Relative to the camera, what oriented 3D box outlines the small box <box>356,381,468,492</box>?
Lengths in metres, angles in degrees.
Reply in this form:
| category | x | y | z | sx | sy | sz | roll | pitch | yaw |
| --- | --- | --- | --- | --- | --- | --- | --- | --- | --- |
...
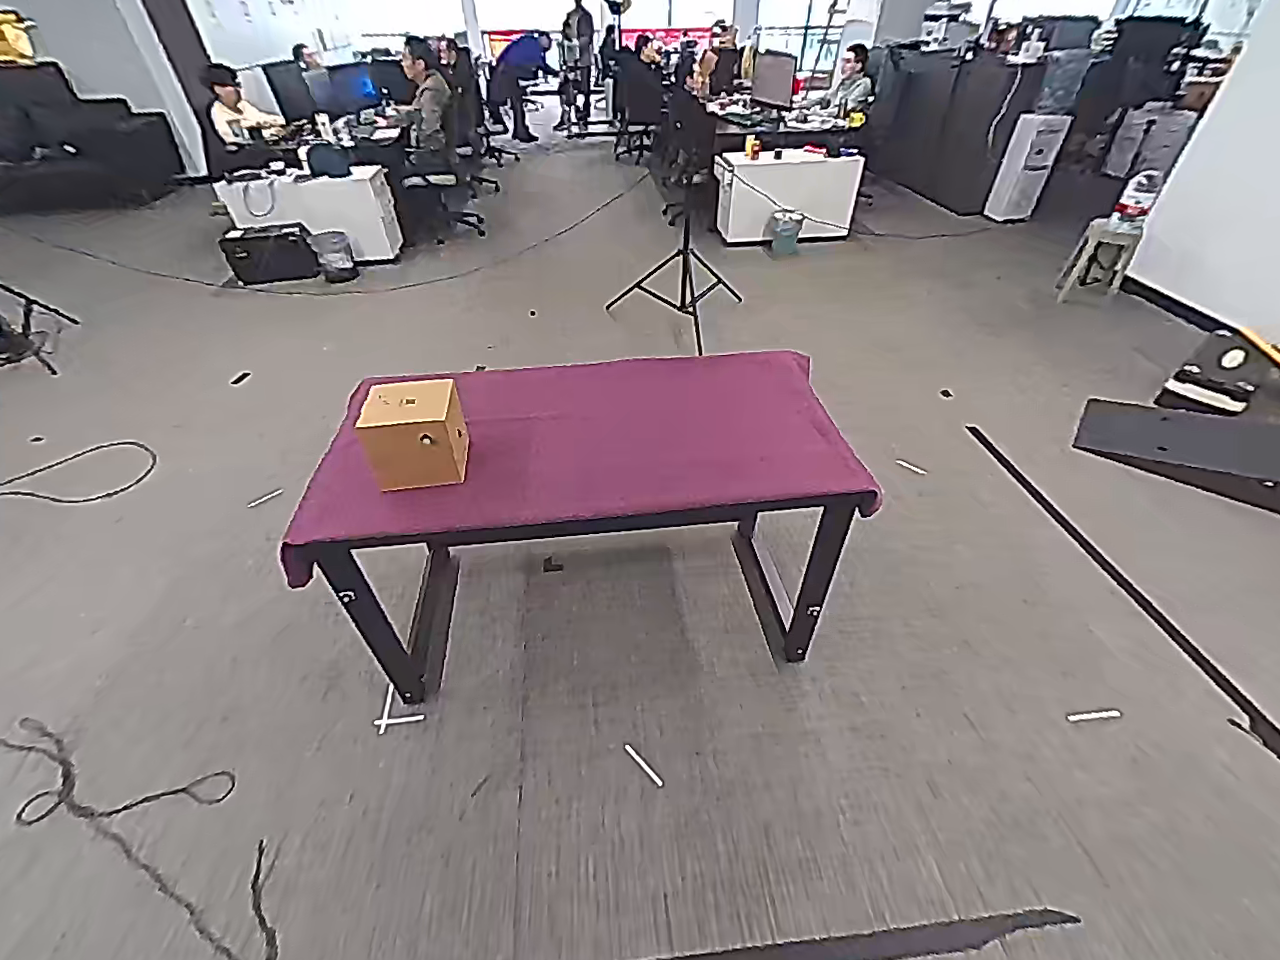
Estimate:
| category | x | y | z | sx | sy | sz | roll | pitch | yaw |
| --- | --- | --- | --- | --- | --- | --- | --- | --- | --- |
| small box | -0.479 | -0.094 | 1.170 | 0.179 | 0.176 | 0.168 | -7 | 40 | -7 |
